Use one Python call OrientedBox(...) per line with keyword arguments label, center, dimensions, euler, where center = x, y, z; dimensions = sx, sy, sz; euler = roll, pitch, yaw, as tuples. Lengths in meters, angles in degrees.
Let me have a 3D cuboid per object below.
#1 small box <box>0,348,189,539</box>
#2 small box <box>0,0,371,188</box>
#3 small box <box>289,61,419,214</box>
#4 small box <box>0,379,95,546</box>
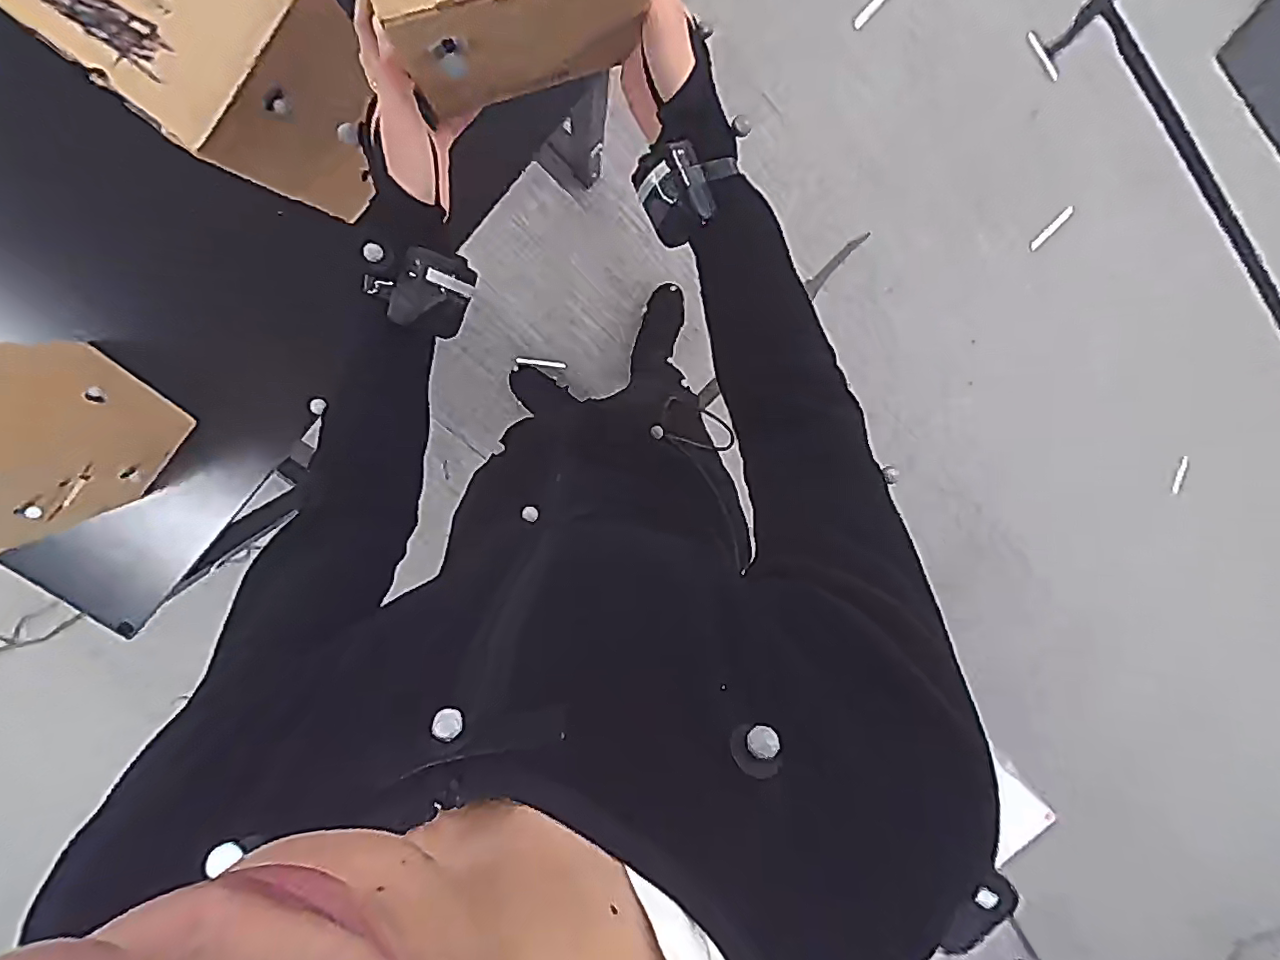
OrientedBox(label="small box", center=(-0.762, -0.059, 0.709), dimensions=(0.179, 0.176, 0.168), euler=(40, 98, -15))
OrientedBox(label="small box", center=(-0.379, -0.401, 0.484), dimensions=(0.168, 0.176, 0.179), euler=(38, 98, -15))
OrientedBox(label="small box", center=(-0.400, -0.450, 0.639), dimensions=(0.179, 0.176, 0.168), euler=(41, 98, -15))
OrientedBox(label="small box", center=(-0.745, -0.016, 0.551), dimensions=(0.179, 0.176, 0.168), euler=(41, 98, -15))
